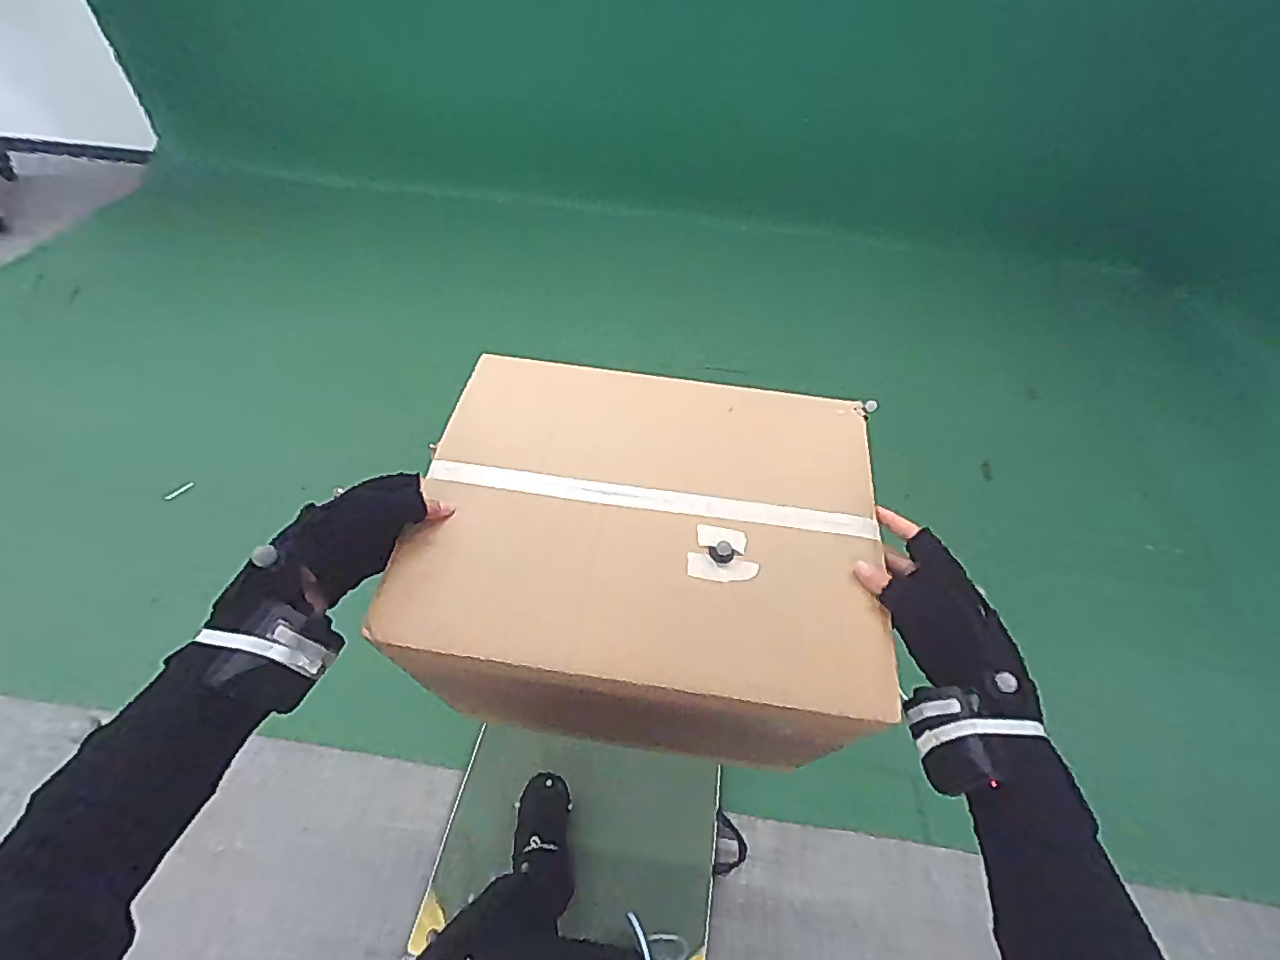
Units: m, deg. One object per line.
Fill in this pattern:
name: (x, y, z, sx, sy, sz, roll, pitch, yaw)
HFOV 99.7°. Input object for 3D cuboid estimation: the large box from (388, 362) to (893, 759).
large box: (0.007, 0.104, 0.620, 0.408, 0.320, 0.320, 8, 56, 2)
